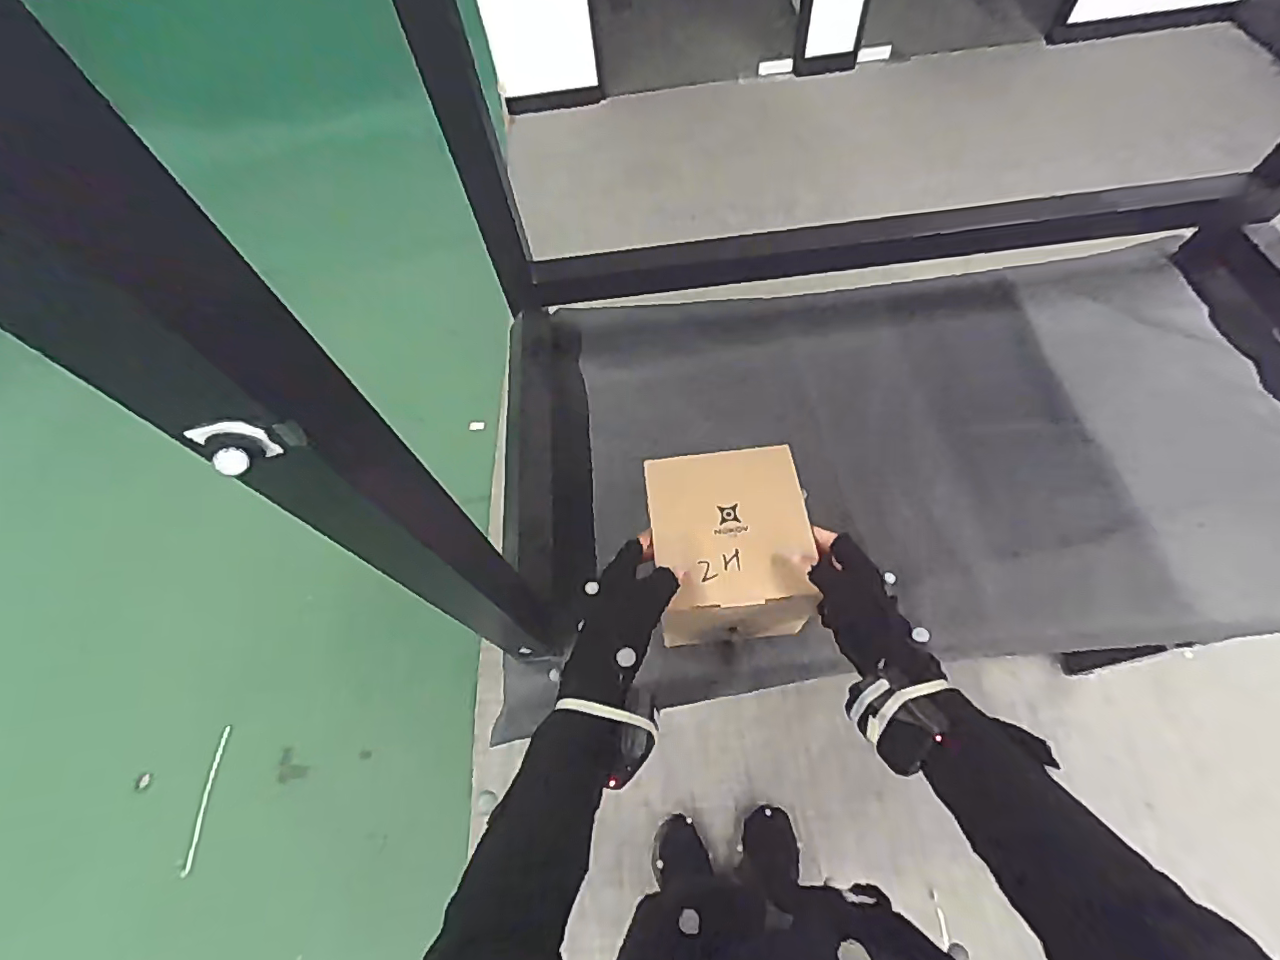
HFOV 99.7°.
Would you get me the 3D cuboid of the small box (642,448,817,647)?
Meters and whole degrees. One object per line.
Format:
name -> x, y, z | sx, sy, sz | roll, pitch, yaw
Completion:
small box -> 0.093, 0.085, 0.640 | 0.168, 0.176, 0.179 | -6, 60, 2
